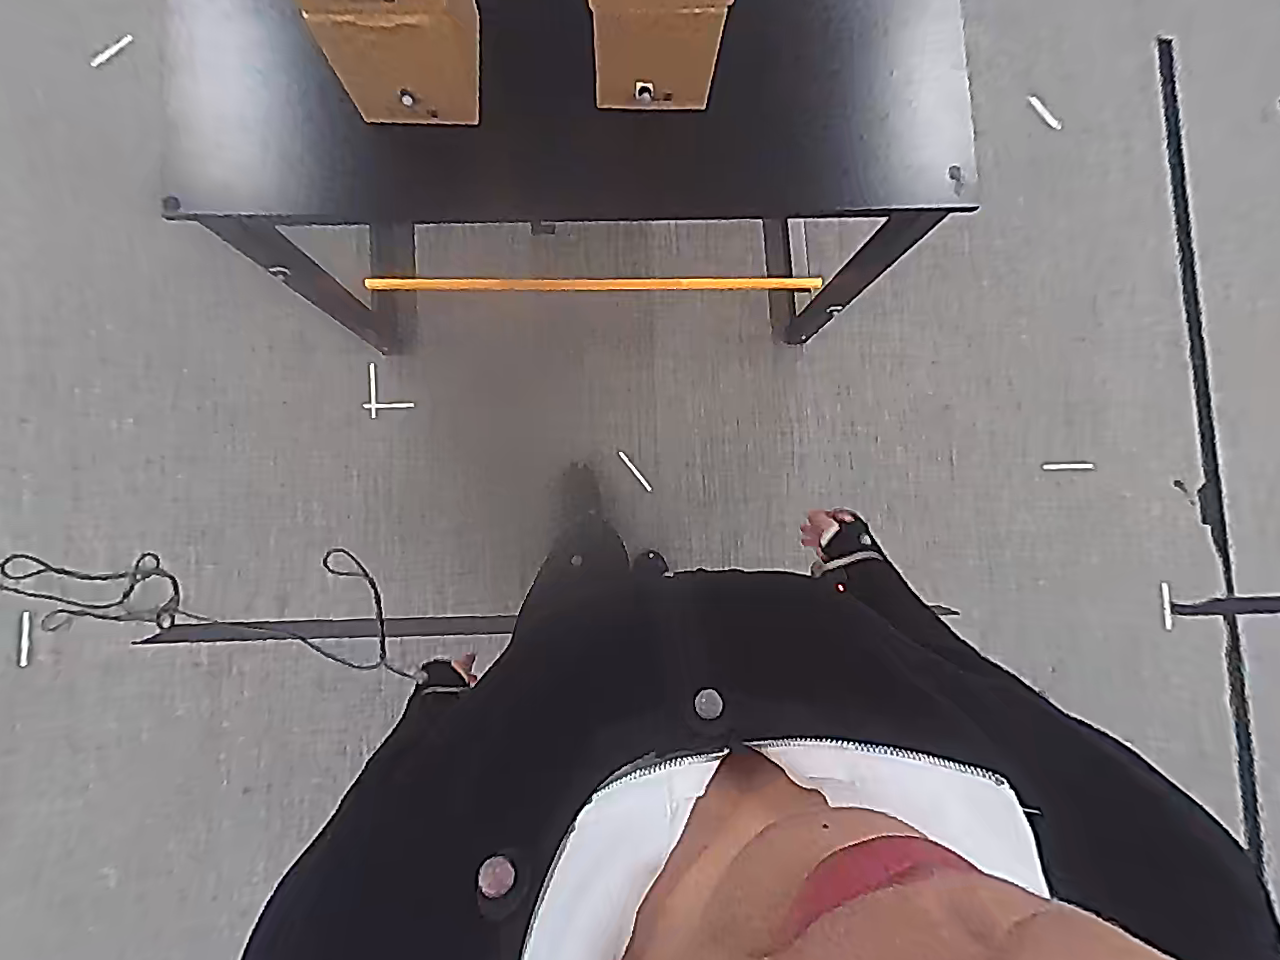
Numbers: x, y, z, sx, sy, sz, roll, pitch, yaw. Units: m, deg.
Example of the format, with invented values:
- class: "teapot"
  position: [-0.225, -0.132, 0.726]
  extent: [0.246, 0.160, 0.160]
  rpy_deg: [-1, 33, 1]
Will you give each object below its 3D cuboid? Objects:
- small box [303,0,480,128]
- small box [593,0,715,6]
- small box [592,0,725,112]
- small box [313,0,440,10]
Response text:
- class: "small box"
  position: [-0.318, -0.616, 0.723]
  extent: [0.168, 0.176, 0.179]
  rpy_deg: [-1, 86, -3]
- class: "small box"
  position: [0.020, -0.659, 0.581]
  extent: [0.179, 0.176, 0.168]
  rpy_deg: [-4, 86, -3]
- class: "small box"
  position: [0.017, -0.651, 0.746]
  extent: [0.168, 0.176, 0.179]
  rpy_deg: [-3, 87, -2]
- class: "small box"
  position: [-0.312, -0.637, 0.560]
  extent: [0.168, 0.176, 0.179]
  rpy_deg: [-4, 87, -3]
